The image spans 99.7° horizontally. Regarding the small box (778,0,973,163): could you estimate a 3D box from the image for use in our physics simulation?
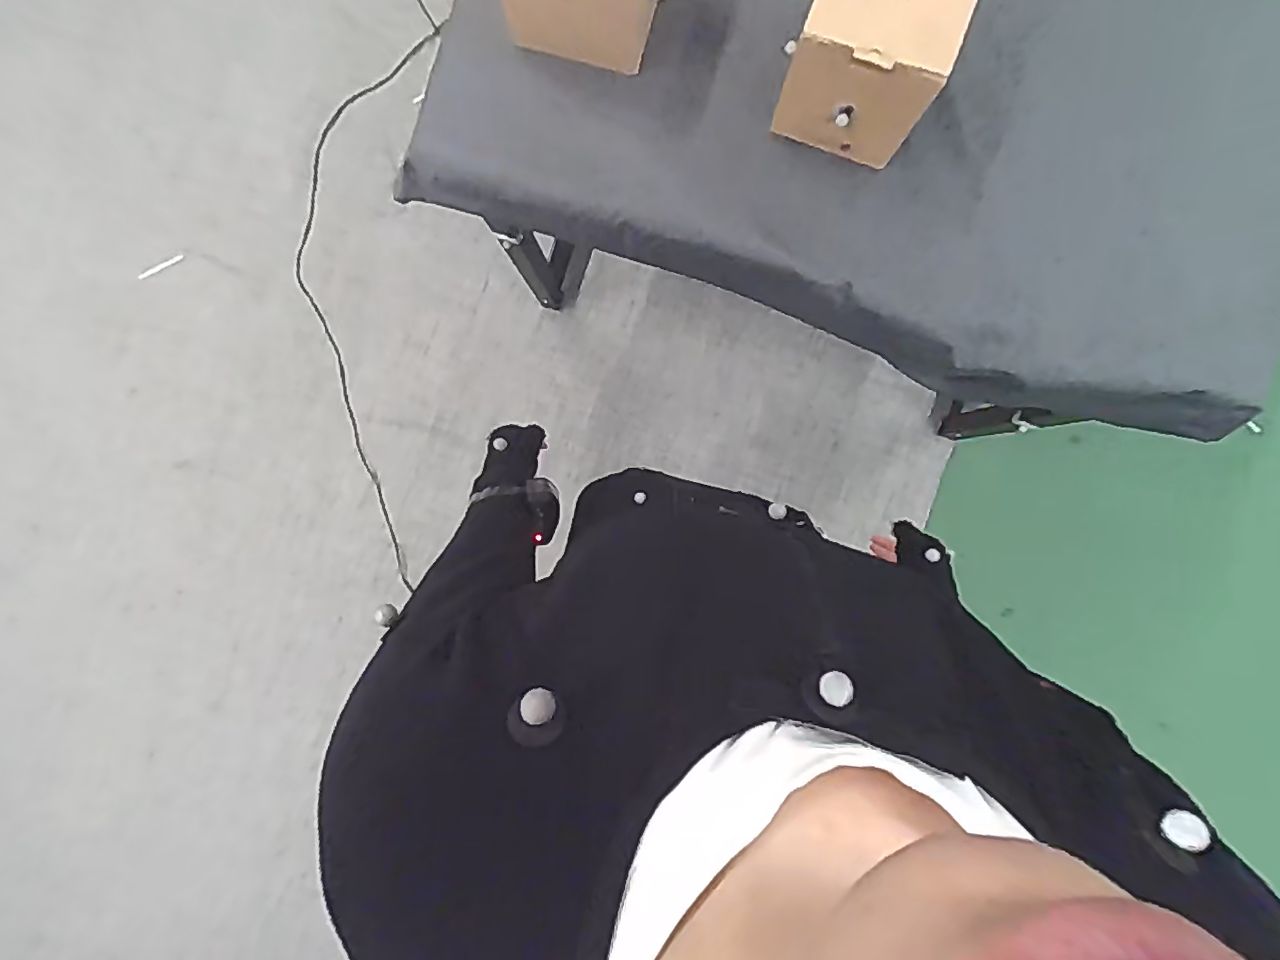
[{"bbox_3d":[0.282,-0.534,0.662,0.168,0.176,0.179,20,91,2],"label":"small box"}]

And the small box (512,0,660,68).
[{"bbox_3d":[-0.065,-0.663,0.670,0.179,0.176,0.168,16,91,0],"label":"small box"}]
